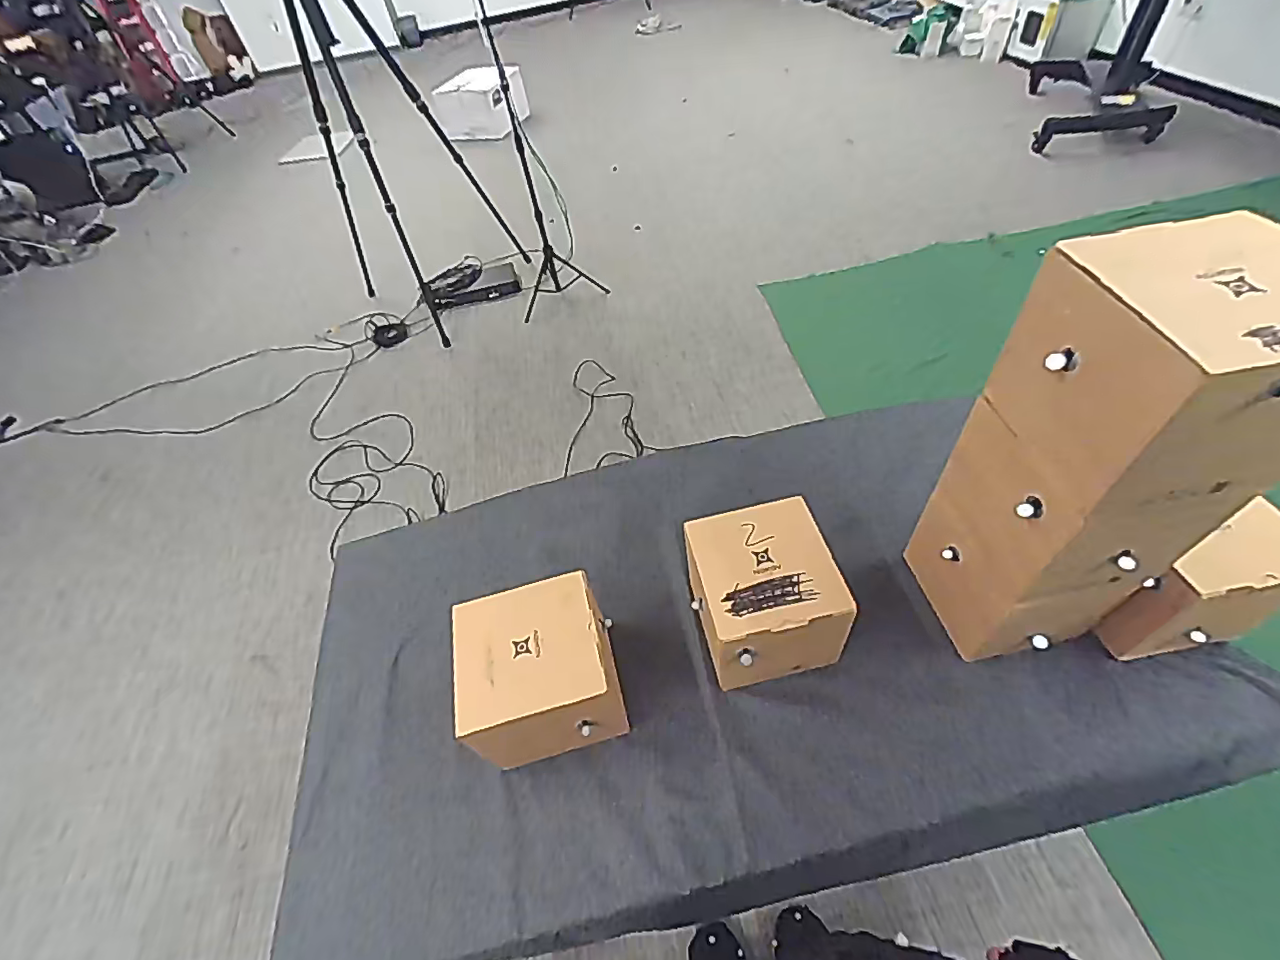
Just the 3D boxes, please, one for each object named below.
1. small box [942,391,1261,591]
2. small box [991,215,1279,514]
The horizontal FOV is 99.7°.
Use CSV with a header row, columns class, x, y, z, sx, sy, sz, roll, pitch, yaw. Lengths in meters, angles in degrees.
class,x,y,z,sx,sy,sz,roll,pitch,yaw
small box,0.470,0.006,0.592,0.168,0.176,0.179,-11,50,0
small box,0.447,-0.096,0.465,0.168,0.176,0.179,-10,49,2
